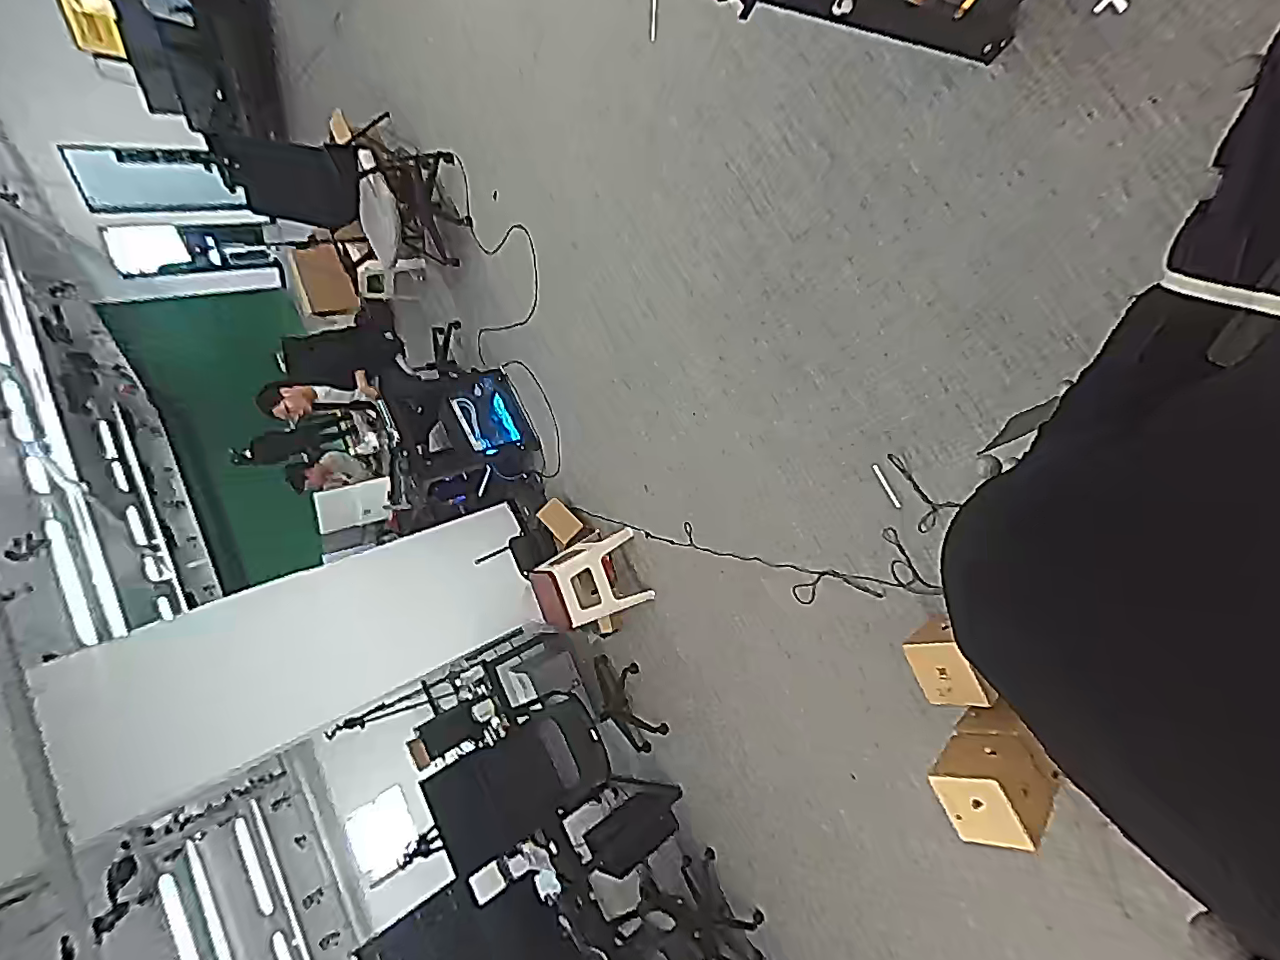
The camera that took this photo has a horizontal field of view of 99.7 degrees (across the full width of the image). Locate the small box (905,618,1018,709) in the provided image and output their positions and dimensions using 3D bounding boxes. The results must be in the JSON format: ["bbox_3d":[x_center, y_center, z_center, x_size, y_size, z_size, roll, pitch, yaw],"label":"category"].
[{"bbox_3d":[0.845,0.474,1.423,0.168,0.176,0.179,-32,82,57],"label":"small box"}]
